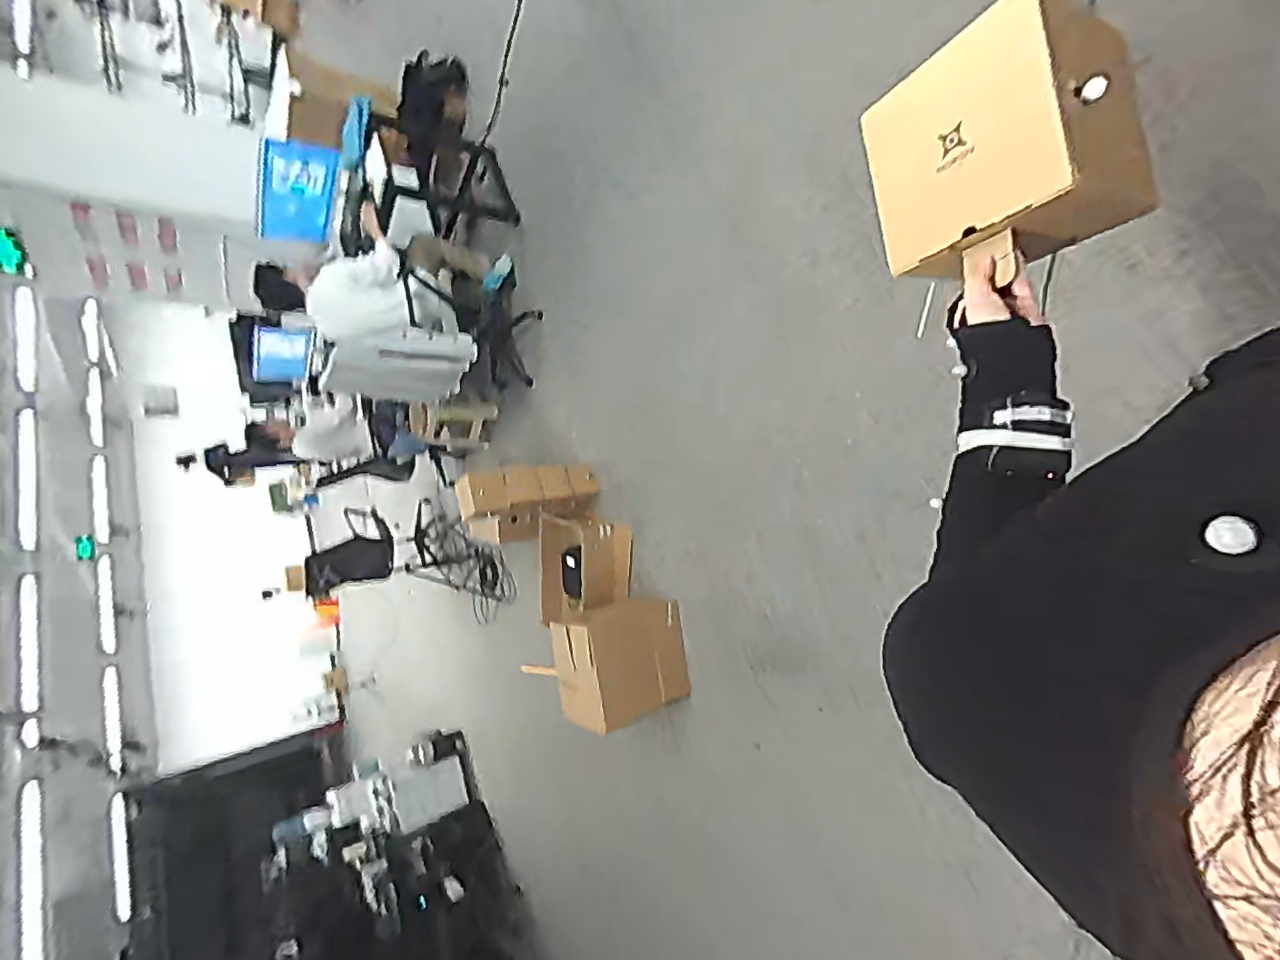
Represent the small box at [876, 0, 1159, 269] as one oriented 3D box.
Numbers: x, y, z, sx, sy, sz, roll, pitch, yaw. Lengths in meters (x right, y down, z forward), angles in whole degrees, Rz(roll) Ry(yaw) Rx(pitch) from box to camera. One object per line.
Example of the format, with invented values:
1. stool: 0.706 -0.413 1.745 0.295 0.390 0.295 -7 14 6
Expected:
1. small box: 0.369 -0.328 0.537 0.168 0.176 0.179 -10 90 61
